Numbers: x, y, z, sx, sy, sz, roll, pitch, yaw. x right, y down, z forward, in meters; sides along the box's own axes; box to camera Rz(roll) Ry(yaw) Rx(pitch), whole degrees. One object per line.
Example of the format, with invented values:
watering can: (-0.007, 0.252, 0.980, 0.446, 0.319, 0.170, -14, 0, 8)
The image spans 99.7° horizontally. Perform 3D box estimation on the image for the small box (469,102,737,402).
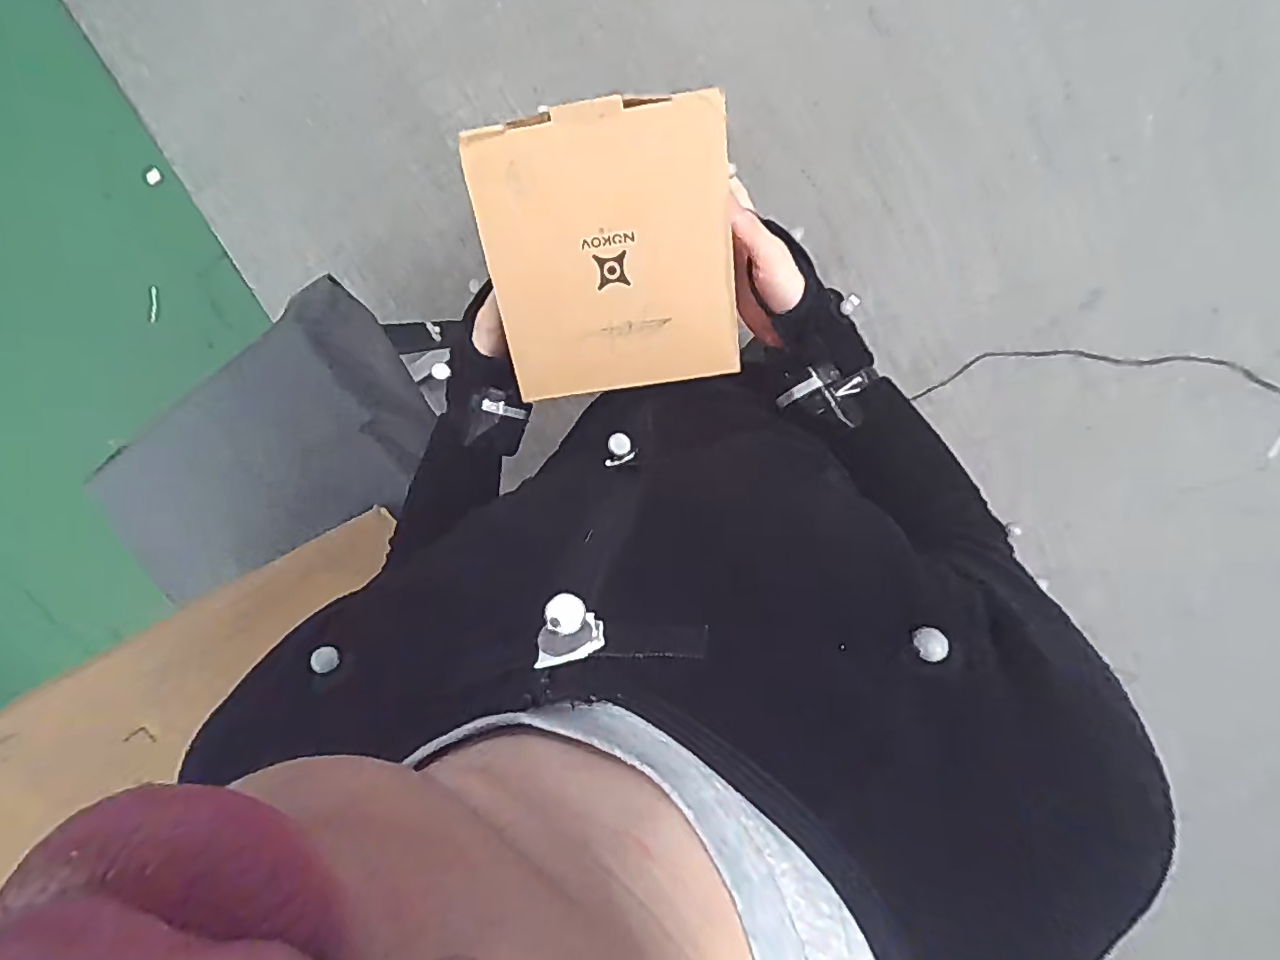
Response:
small box: (-0.018, -0.180, 0.436, 0.168, 0.176, 0.179, -6, 119, 3)
